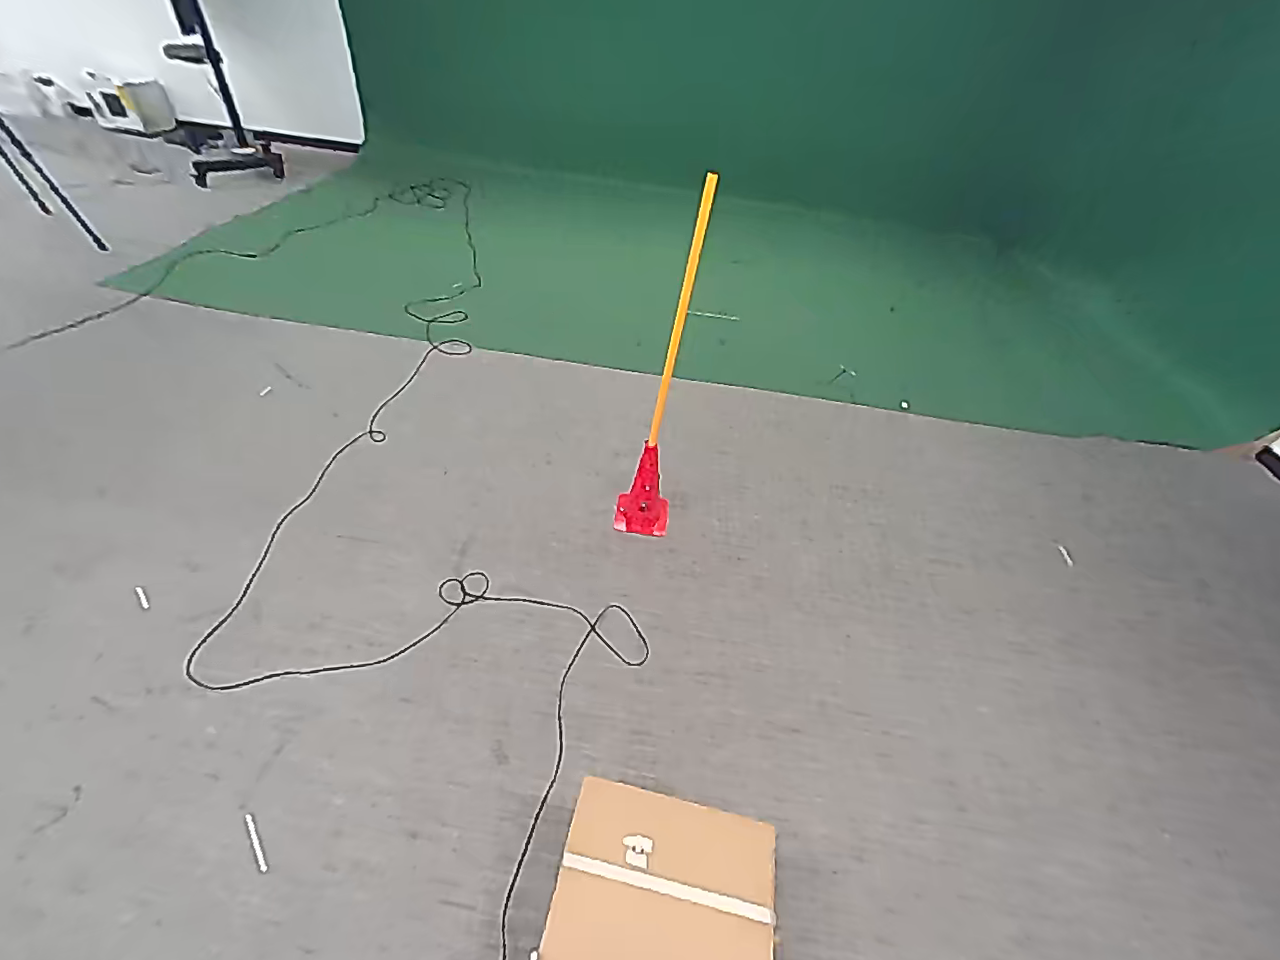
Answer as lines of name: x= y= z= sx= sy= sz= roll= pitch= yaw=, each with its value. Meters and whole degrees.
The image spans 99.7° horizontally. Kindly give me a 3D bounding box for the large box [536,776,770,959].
large box: x=0.032 y=0.870 z=1.116 sx=0.408 sy=0.320 sz=0.320 roll=12 pitch=43 yaw=6
